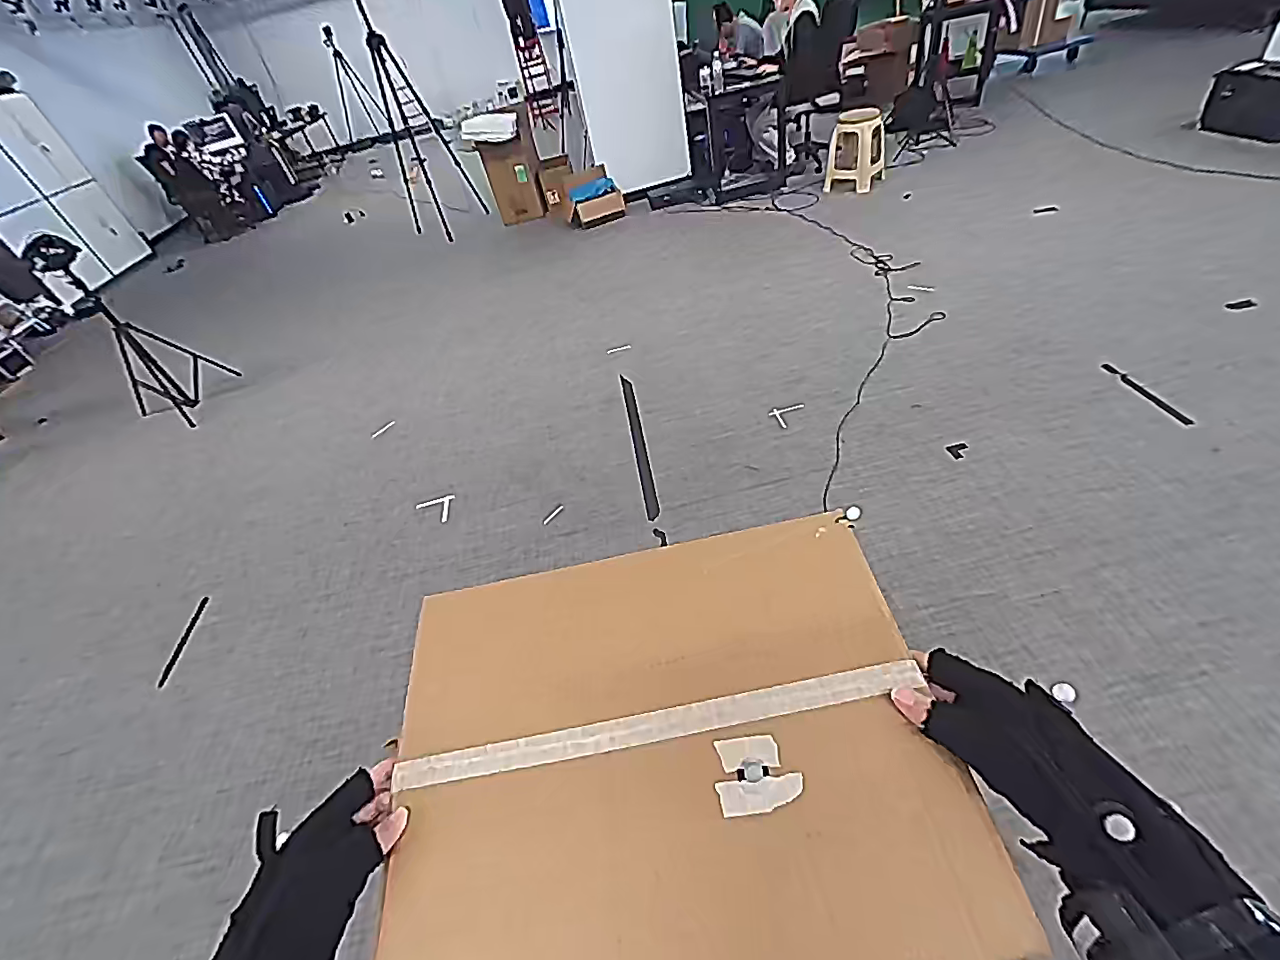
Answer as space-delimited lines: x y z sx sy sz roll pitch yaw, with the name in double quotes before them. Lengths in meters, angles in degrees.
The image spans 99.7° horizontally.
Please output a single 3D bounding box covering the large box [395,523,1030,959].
"large box" 0.040 0.291 0.530 0.408 0.320 0.320 -12 49 2
